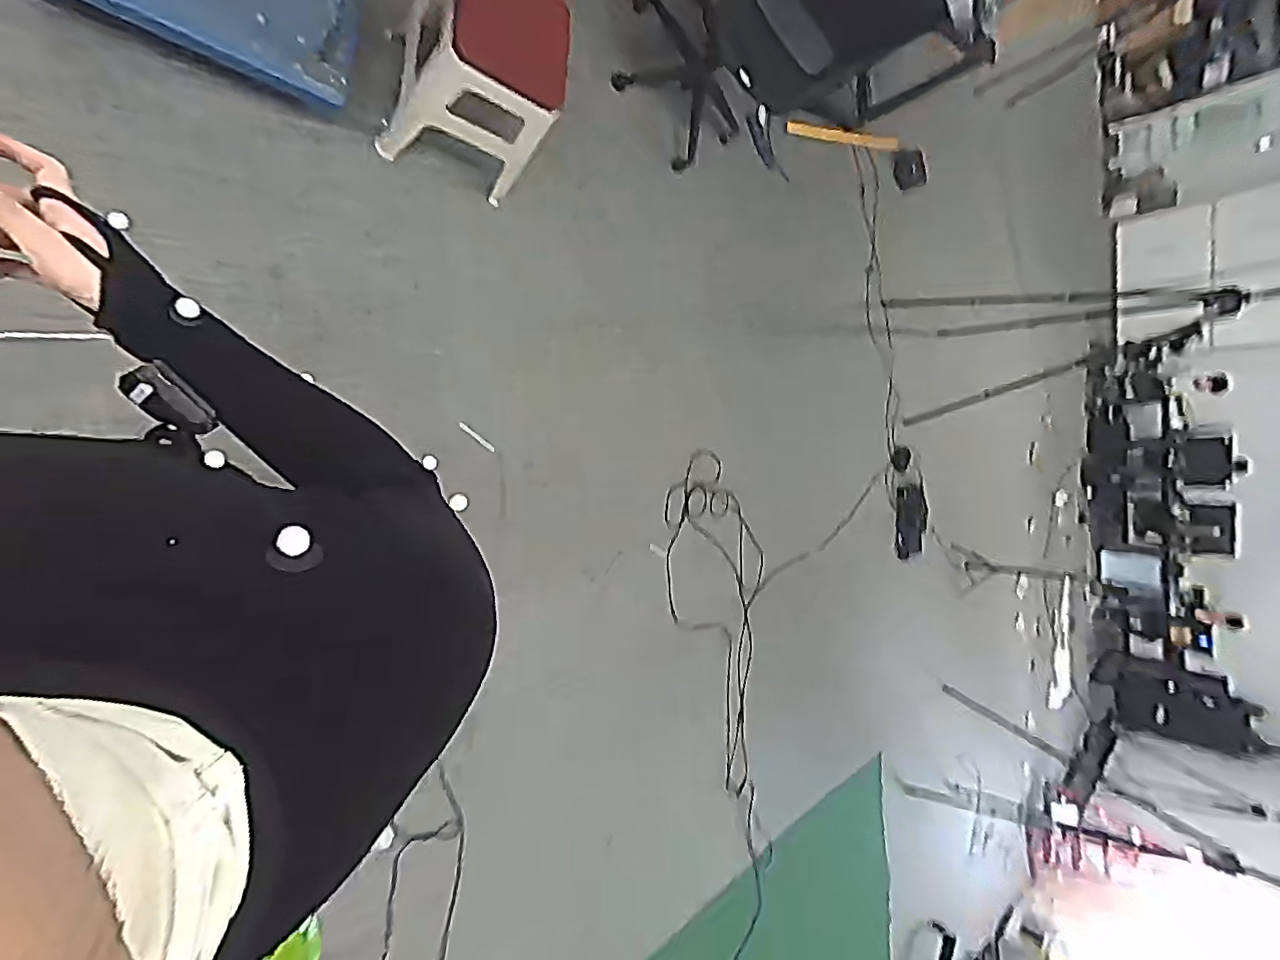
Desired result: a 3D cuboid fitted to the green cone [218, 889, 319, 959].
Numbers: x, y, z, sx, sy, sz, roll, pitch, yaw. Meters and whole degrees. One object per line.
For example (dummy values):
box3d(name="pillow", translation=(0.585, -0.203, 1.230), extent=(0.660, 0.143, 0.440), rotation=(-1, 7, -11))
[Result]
box3d(name="green cone", translation=(-0.851, 1.213, 1.280), extent=(0.202, 0.368, 0.200), rotation=(-12, 100, -40))
